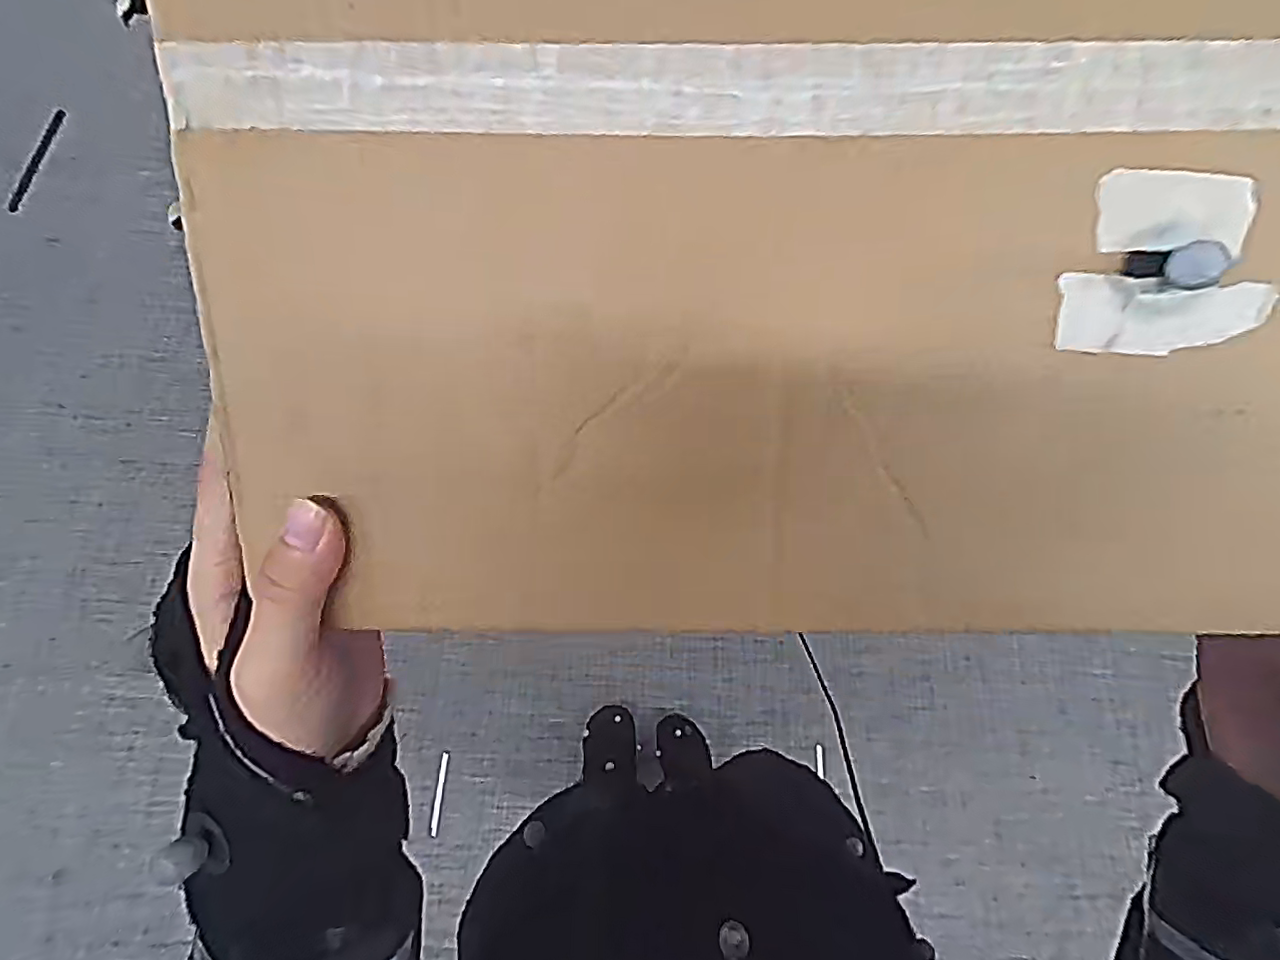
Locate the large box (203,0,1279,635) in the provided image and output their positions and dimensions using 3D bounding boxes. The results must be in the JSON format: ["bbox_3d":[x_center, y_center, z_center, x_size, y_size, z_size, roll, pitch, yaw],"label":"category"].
[{"bbox_3d":[0.074,-0.129,0.303,0.408,0.320,0.320,0,102,-1],"label":"large box"}]
